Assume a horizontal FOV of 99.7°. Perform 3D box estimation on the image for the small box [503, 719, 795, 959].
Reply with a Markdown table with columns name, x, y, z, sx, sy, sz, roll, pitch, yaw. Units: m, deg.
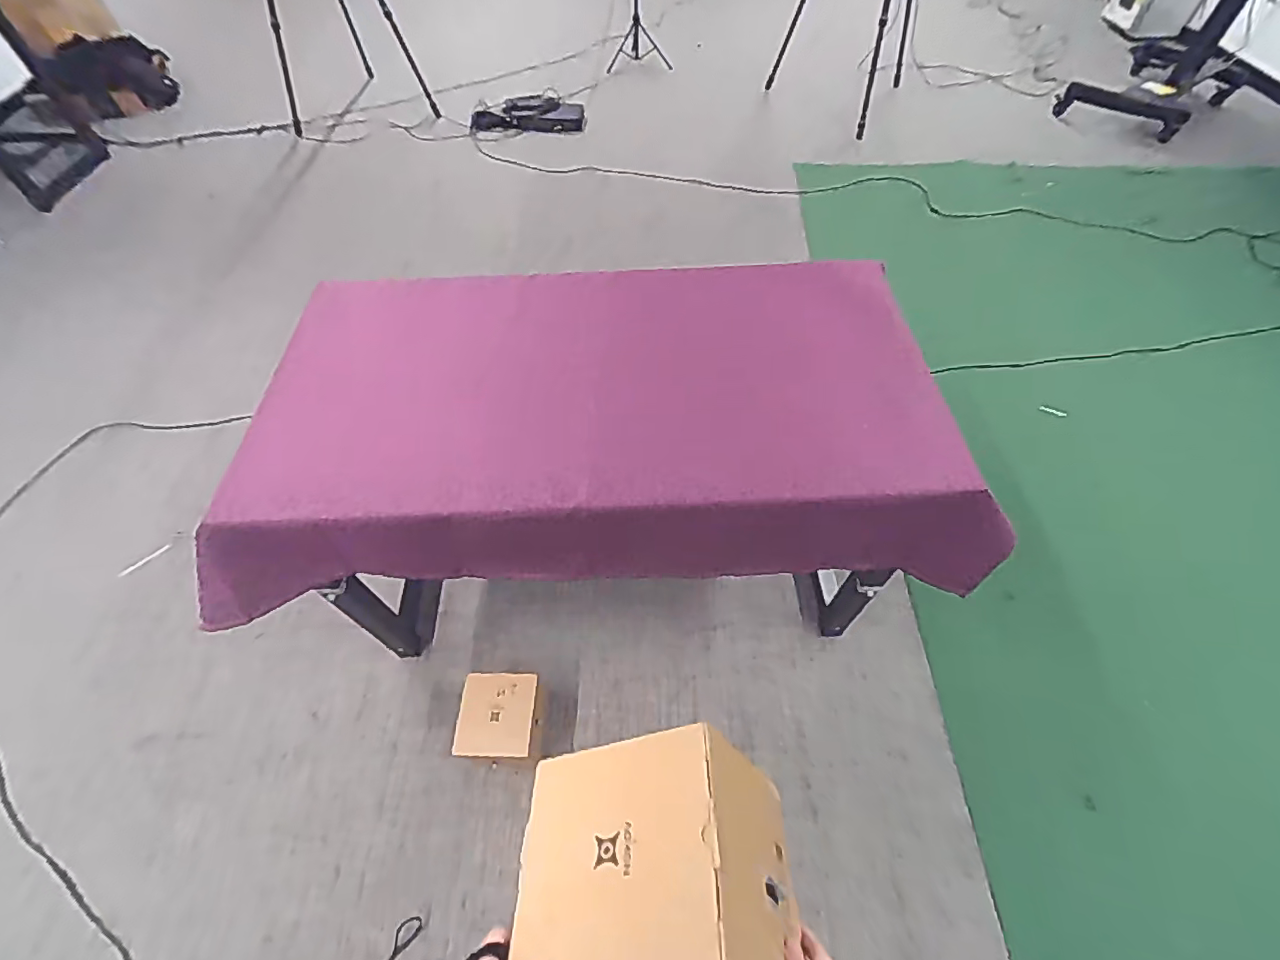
| name | x | y | z | sx | sy | sz | roll | pitch | yaw |
| --- | --- | --- | --- | --- | --- | --- | --- | --- | --- |
| small box | 0.014 | 0.341 | 0.470 | 0.179 | 0.176 | 0.168 | -23 | 35 | 18 |
